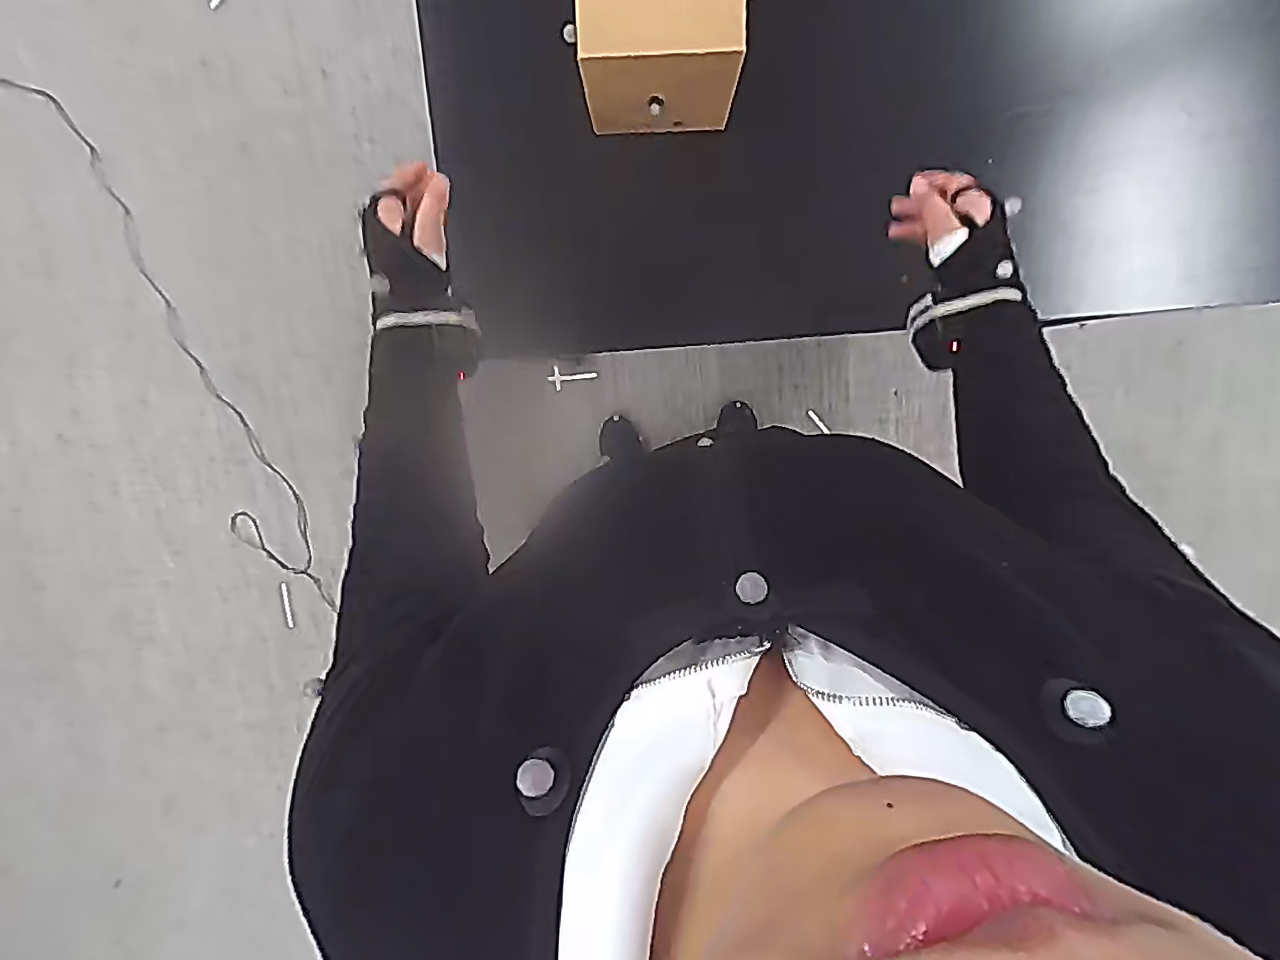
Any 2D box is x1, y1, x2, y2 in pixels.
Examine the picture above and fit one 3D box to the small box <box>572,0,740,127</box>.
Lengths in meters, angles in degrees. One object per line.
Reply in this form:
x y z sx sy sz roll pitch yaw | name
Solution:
0.018 -0.513 0.592 0.168 0.176 0.179 -1 99 2 | small box
